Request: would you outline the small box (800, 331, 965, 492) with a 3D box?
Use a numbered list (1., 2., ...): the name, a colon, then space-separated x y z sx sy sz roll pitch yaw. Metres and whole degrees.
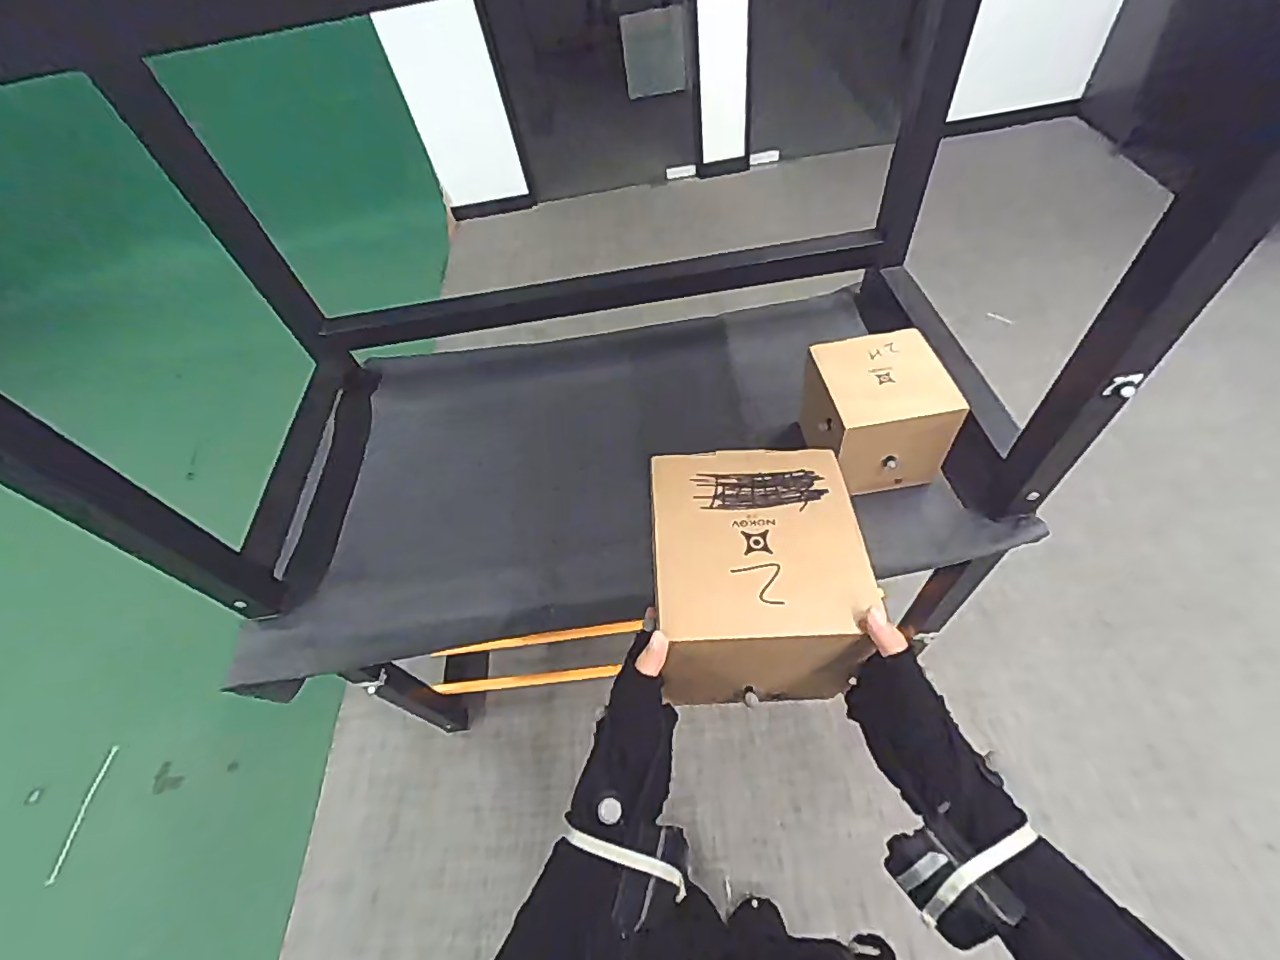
1. small box: 0.355 -0.096 0.832 0.168 0.176 0.179 -10 52 2
